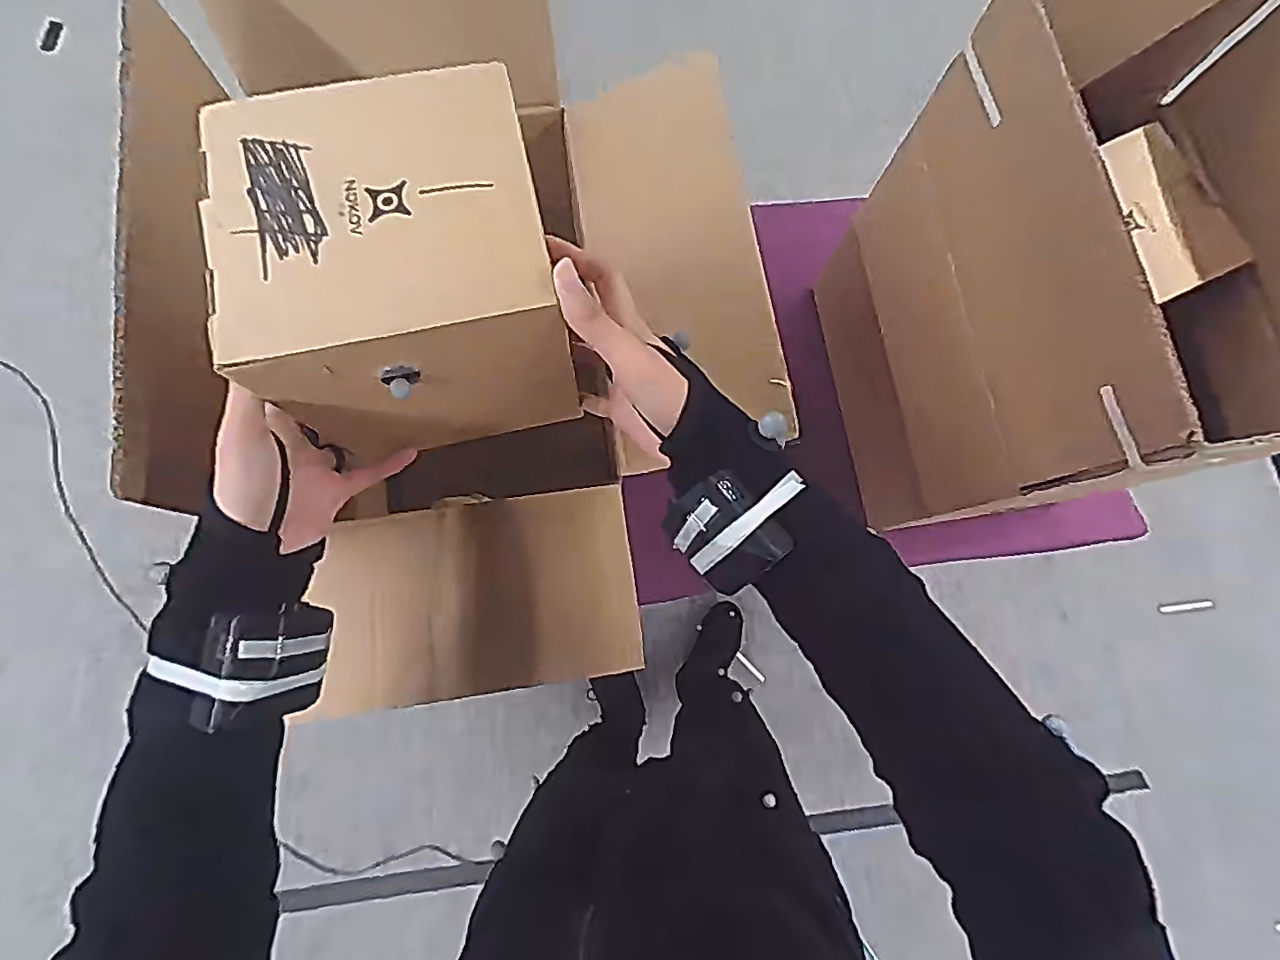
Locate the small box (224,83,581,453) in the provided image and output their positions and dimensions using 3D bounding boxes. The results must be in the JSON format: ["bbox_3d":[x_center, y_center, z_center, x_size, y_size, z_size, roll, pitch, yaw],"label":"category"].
[{"bbox_3d":[-0.147,-0.130,0.384,0.179,0.176,0.168,-12,77,-5],"label":"small box"}]
